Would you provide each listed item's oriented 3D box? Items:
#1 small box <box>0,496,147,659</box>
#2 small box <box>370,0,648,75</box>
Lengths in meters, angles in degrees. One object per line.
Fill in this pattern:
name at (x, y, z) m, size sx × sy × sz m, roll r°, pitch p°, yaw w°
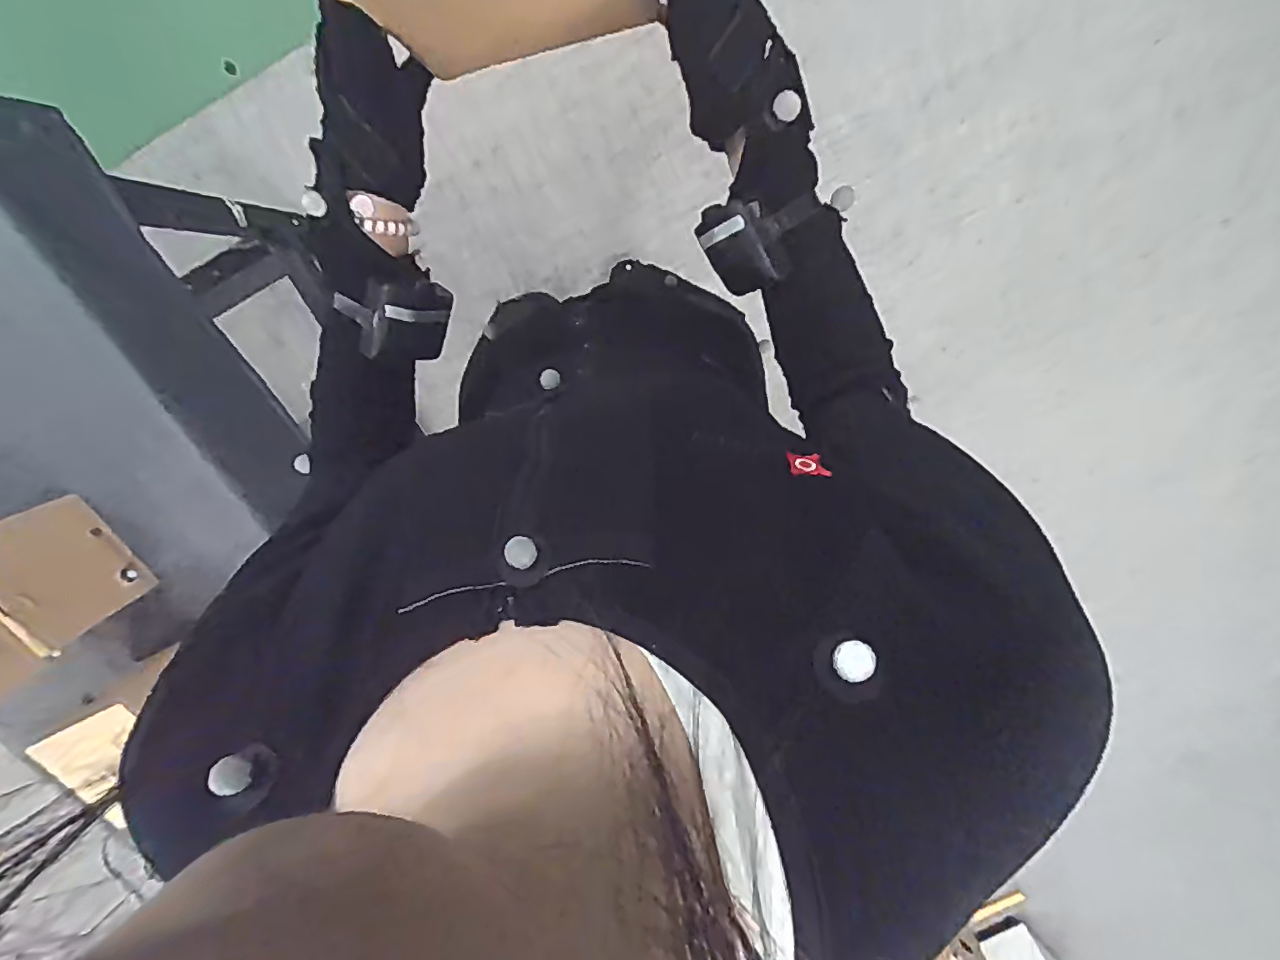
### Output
small box at (-0.821, 0.145, 0.716) m, size 0.179 × 0.176 × 0.168 m, roll -25°, pitch 108°, yaw 10°
small box at (-0.090, -0.361, 0.298) m, size 0.179 × 0.176 × 0.168 m, roll -13°, pitch 111°, yaw 4°
